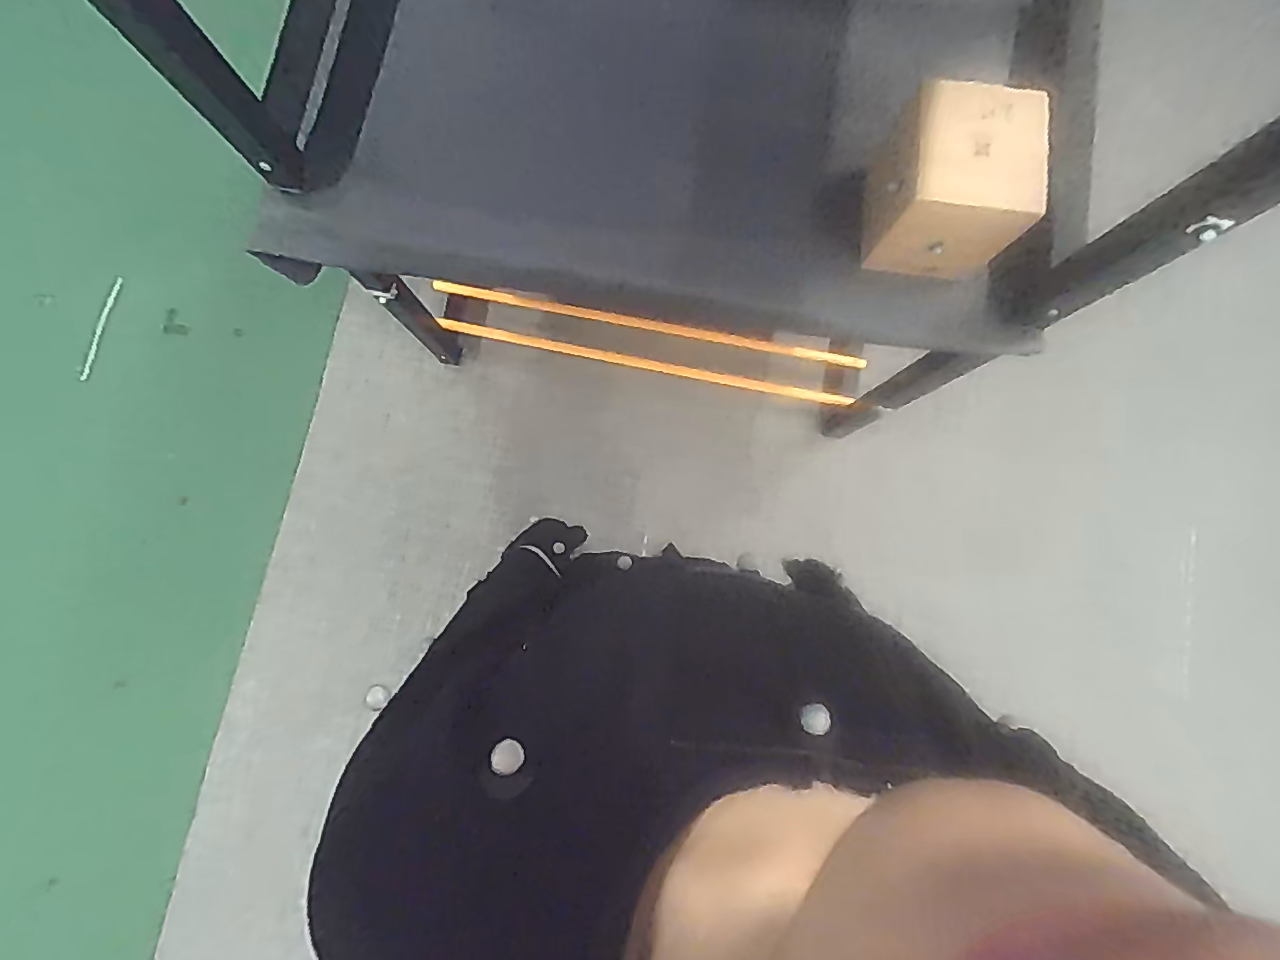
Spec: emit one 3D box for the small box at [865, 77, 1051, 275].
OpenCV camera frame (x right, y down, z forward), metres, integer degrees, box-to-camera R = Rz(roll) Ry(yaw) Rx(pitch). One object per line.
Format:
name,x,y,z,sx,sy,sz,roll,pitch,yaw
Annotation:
small box,0.435,-0.414,0.764,0.168,0.176,0.179,7,82,0
